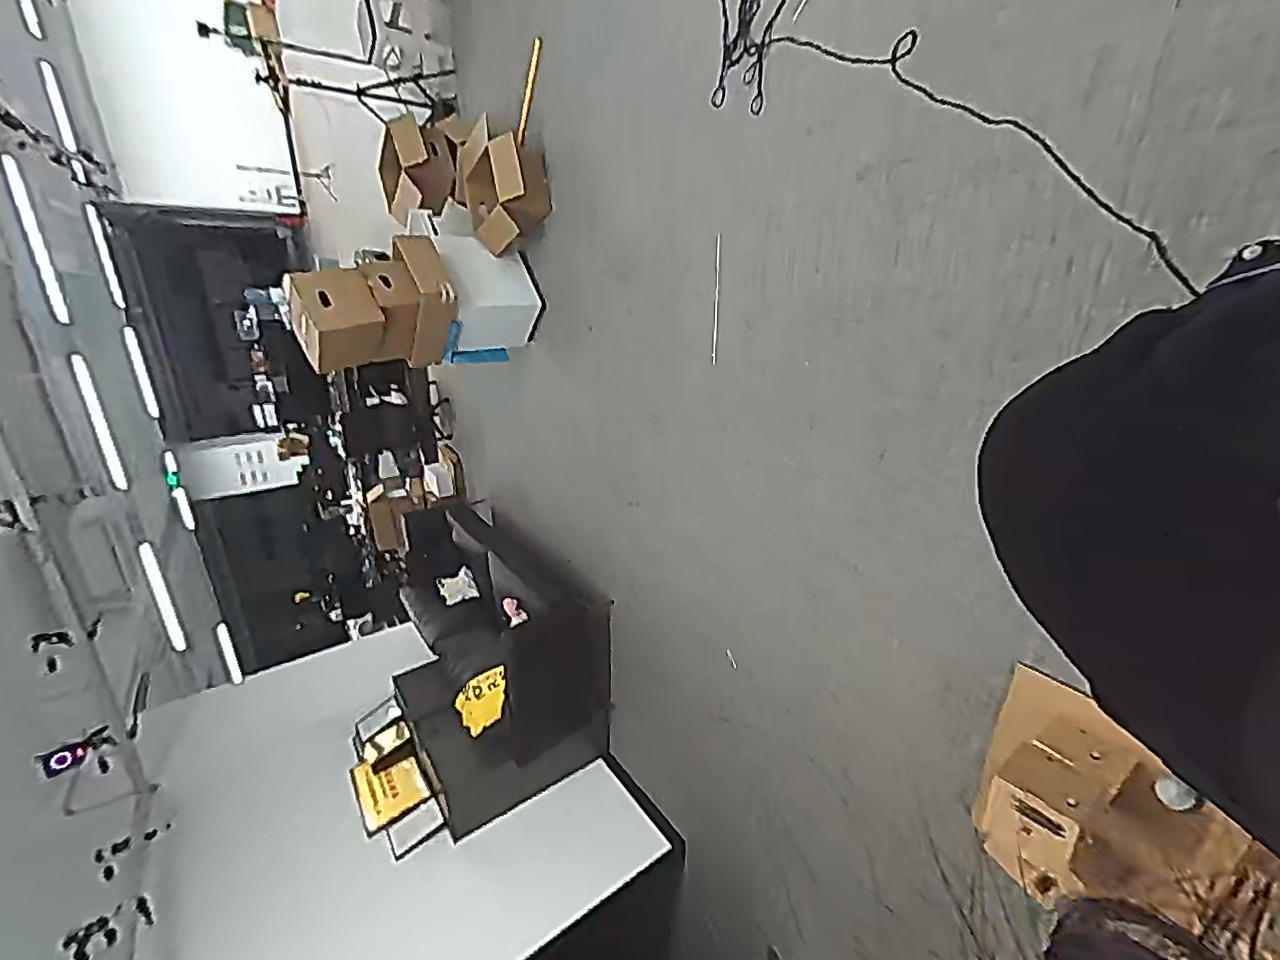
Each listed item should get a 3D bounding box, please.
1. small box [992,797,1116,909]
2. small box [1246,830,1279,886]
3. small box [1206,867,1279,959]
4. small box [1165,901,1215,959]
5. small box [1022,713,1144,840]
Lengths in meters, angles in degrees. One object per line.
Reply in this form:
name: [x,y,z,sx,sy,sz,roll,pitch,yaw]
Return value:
small box: [1.079,0.952,1.409,0.179,0.176,0.168,45,136,40]
small box: [1.300,0.825,1.041,0.168,0.176,0.179,33,128,47]
small box: [1.155,0.863,0.971,0.168,0.176,0.179,7,108,54]
small box: [1.281,1.073,1.161,0.179,0.176,0.168,34,129,45]
small box: [1.082,0.712,1.320,0.168,0.176,0.179,31,127,47]
